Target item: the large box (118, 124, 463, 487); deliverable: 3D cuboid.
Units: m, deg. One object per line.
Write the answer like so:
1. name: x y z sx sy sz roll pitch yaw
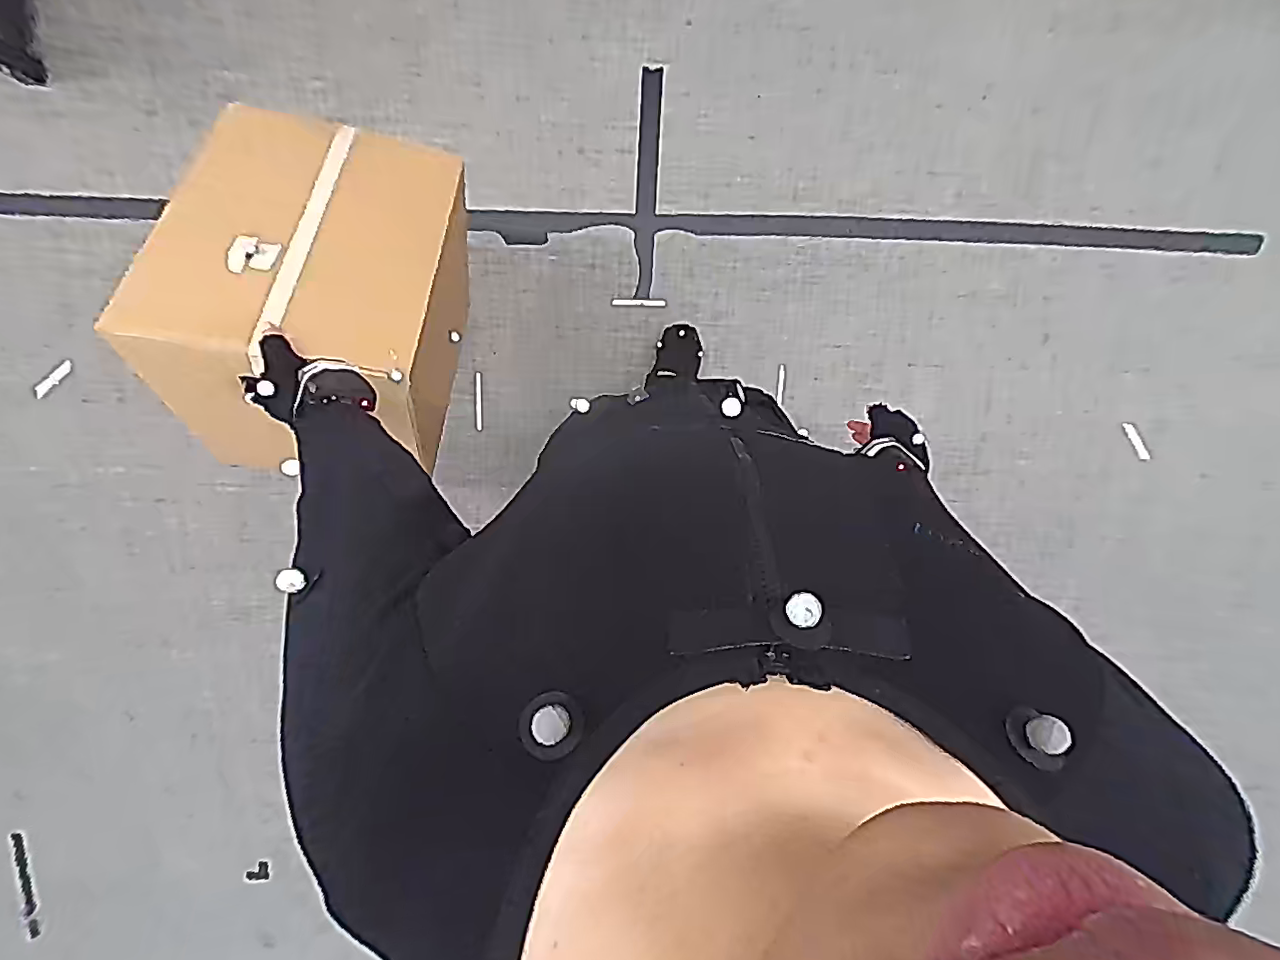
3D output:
1. large box: -0.461 -0.245 0.837 0.320 0.320 0.408 7 63 -12
